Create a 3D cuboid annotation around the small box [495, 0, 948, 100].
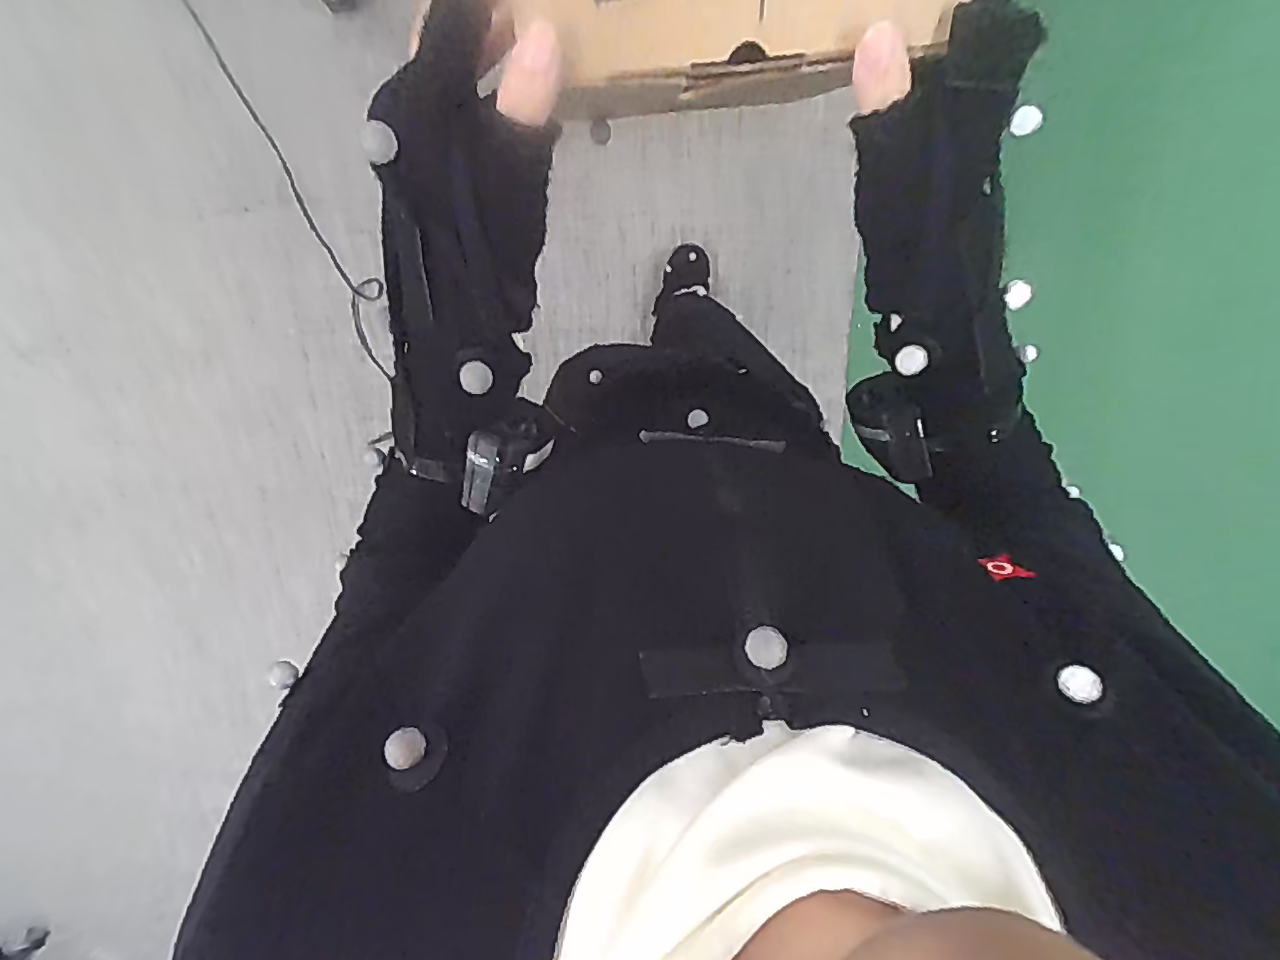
[{"bbox_3d":[0.019,-0.273,0.225,0.168,0.176,0.179,-7,119,-2],"label":"small box"}]
